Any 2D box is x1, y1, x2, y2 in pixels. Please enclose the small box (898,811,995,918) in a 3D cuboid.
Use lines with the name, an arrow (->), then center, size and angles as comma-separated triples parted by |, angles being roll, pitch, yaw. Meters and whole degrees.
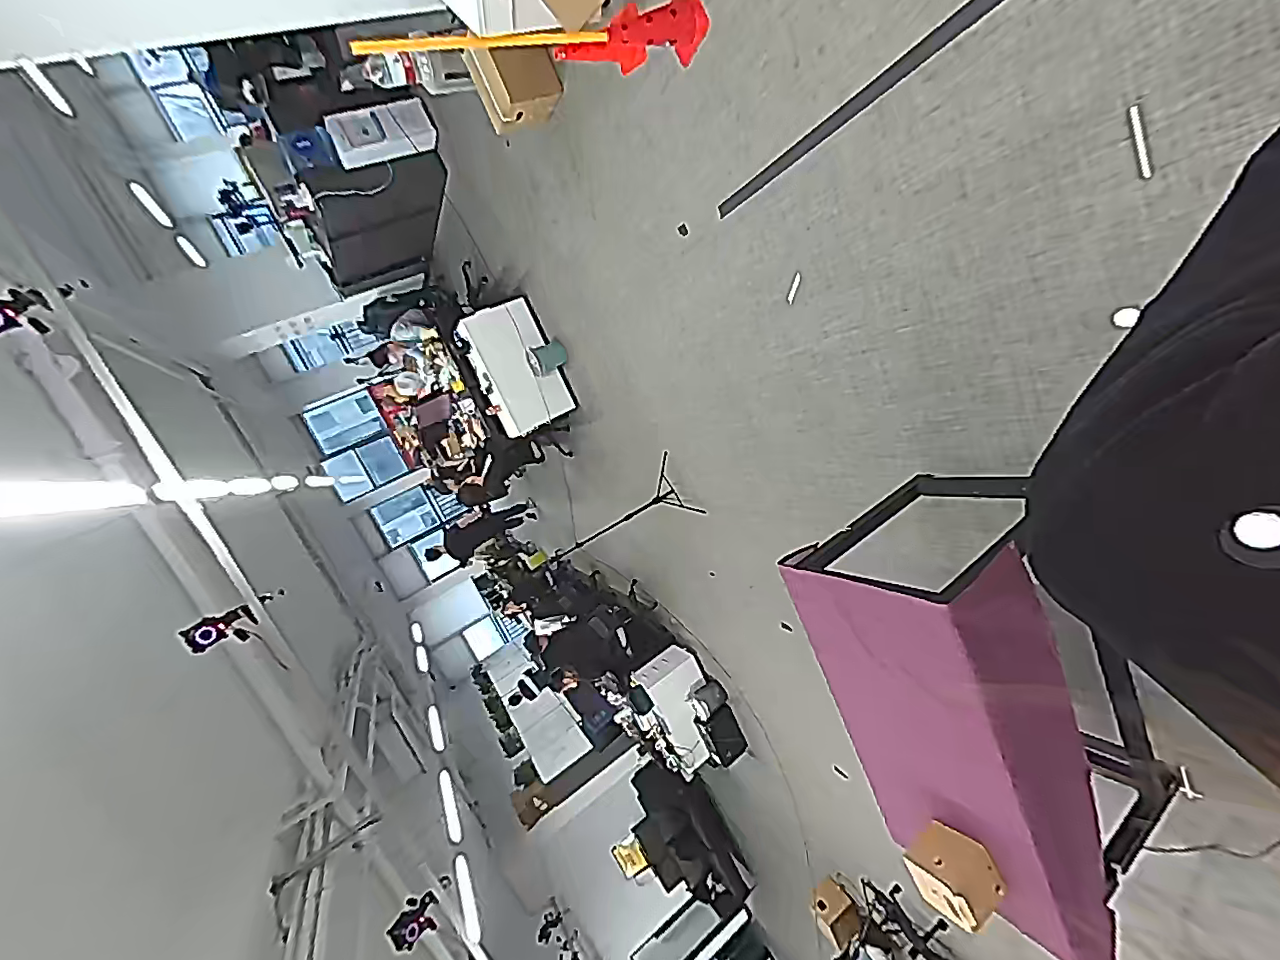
small box -> 0.942, 1.160, 1.651 | 0.168, 0.176, 0.179 | 62, 159, -4
